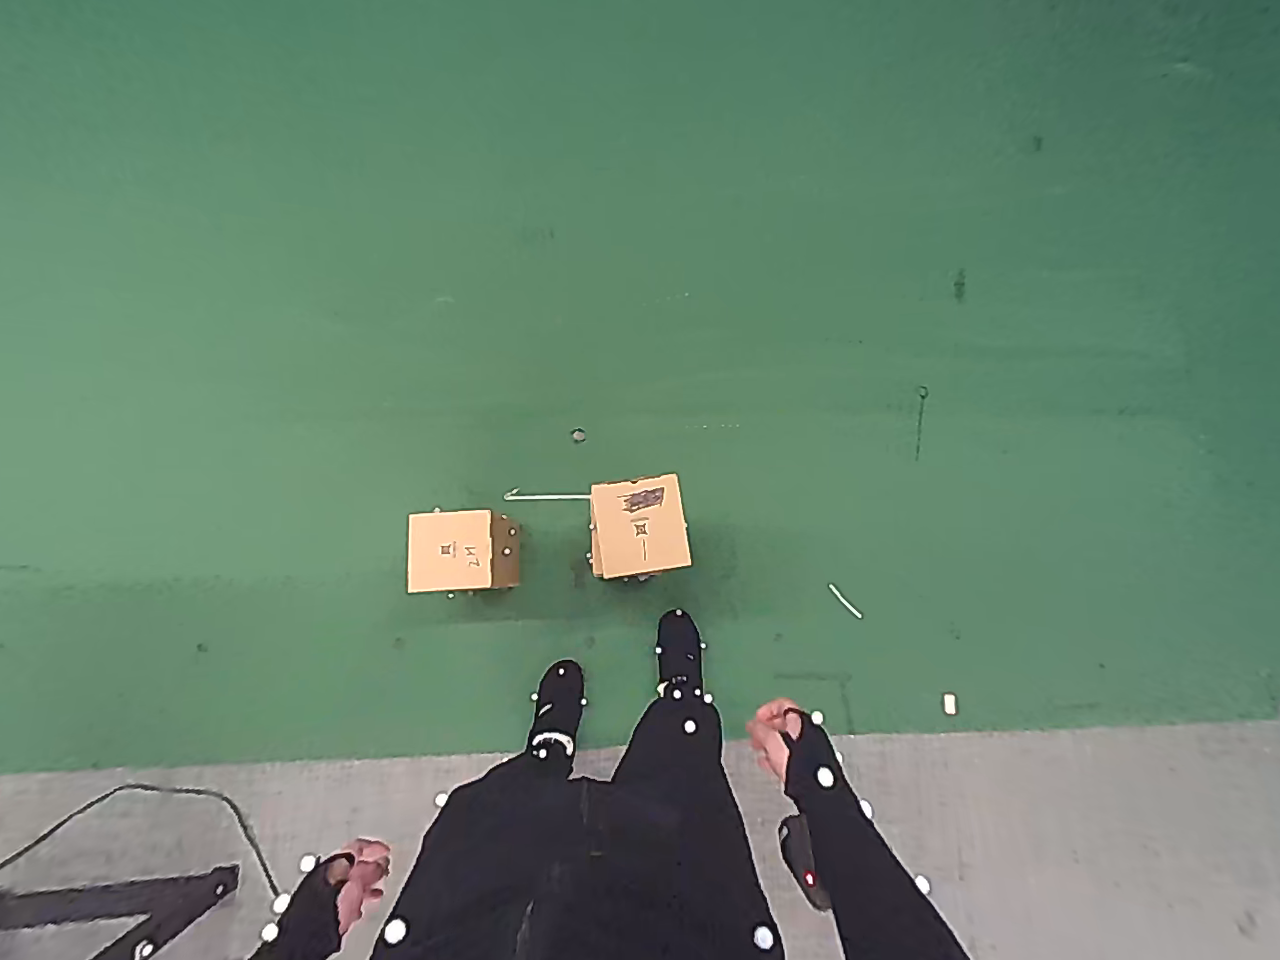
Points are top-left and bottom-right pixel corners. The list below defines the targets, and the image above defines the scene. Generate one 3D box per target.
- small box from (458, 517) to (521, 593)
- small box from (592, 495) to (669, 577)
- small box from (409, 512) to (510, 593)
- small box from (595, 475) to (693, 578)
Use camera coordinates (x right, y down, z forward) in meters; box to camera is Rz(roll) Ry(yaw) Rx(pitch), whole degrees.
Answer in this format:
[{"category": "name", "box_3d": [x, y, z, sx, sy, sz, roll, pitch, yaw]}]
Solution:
[{"category": "small box", "box_3d": [-0.400, 0.194, 1.376, 0.168, 0.176, 0.179, -3, 78, -2]}, {"category": "small box", "box_3d": [-0.022, 0.128, 1.233, 0.168, 0.176, 0.179, -2, 79, -4]}, {"category": "small box", "box_3d": [-0.398, 0.167, 1.213, 0.179, 0.176, 0.168, -3, 79, -2]}, {"category": "small box", "box_3d": [0.000, 0.098, 1.074, 0.168, 0.176, 0.179, -8, 82, -4]}]
